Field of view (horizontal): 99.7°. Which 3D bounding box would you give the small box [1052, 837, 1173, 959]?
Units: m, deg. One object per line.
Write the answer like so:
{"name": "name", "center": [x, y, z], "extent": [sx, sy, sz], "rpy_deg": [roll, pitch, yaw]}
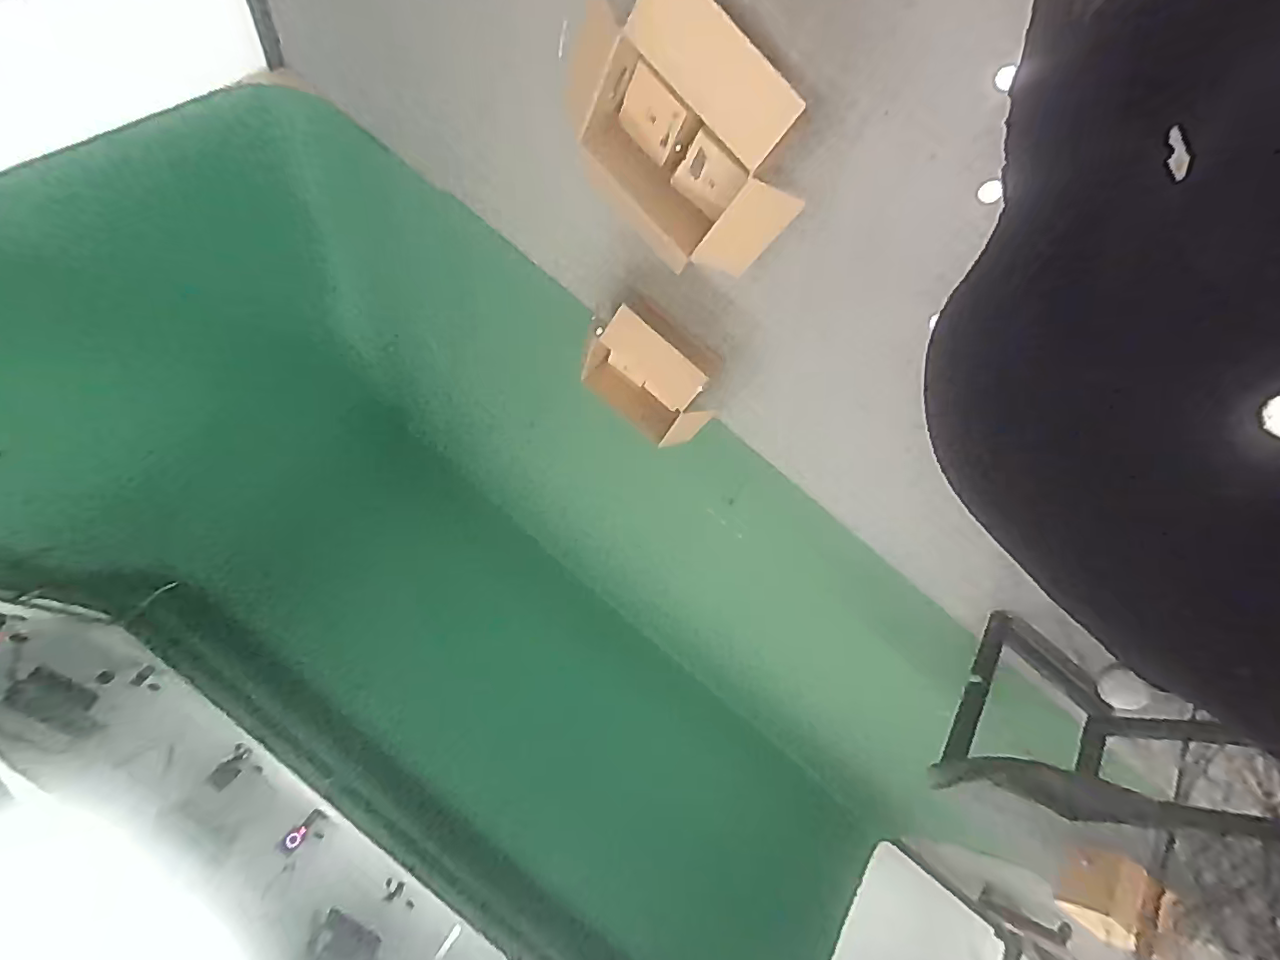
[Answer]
{"name": "small box", "center": [1.249, 1.092, 1.426], "extent": [0.179, 0.176, 0.168], "rpy_deg": [39, 152, 2]}
